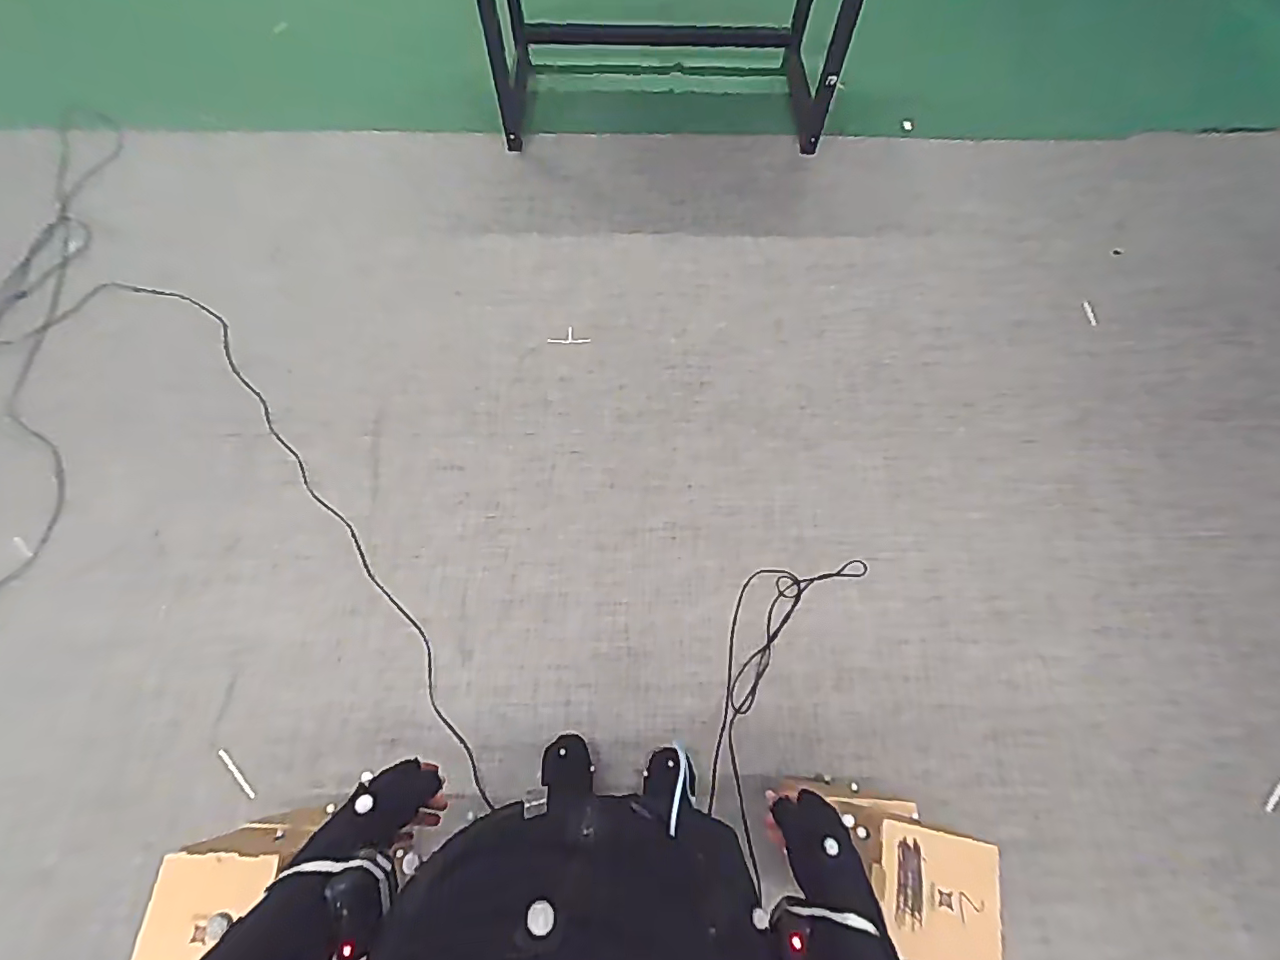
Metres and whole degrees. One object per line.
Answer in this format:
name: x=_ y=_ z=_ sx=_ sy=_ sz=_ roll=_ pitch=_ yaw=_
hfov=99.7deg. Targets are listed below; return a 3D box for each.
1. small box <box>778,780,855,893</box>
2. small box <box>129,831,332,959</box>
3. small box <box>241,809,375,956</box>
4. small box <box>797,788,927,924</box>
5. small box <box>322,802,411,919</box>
small box: x=0.393 y=0.743 z=1.131 sx=0.168 sy=0.176 sz=0.179 roll=6 pitch=66 yaw=1
small box: x=-0.594 y=0.643 z=0.802 sx=0.168 sy=0.176 sz=0.179 roll=2 pitch=66 yaw=0
small box: x=-0.597 y=0.700 z=0.955 sx=0.168 sy=0.176 sz=0.179 roll=3 pitch=66 yaw=0
small box: x=0.395 y=0.680 z=0.998 sx=0.168 sy=0.176 sz=0.179 roll=4 pitch=67 yaw=0
small box: x=-0.593 y=0.767 z=1.106 sx=0.179 sy=0.176 sz=0.168 roll=2 pitch=66 yaw=-1
